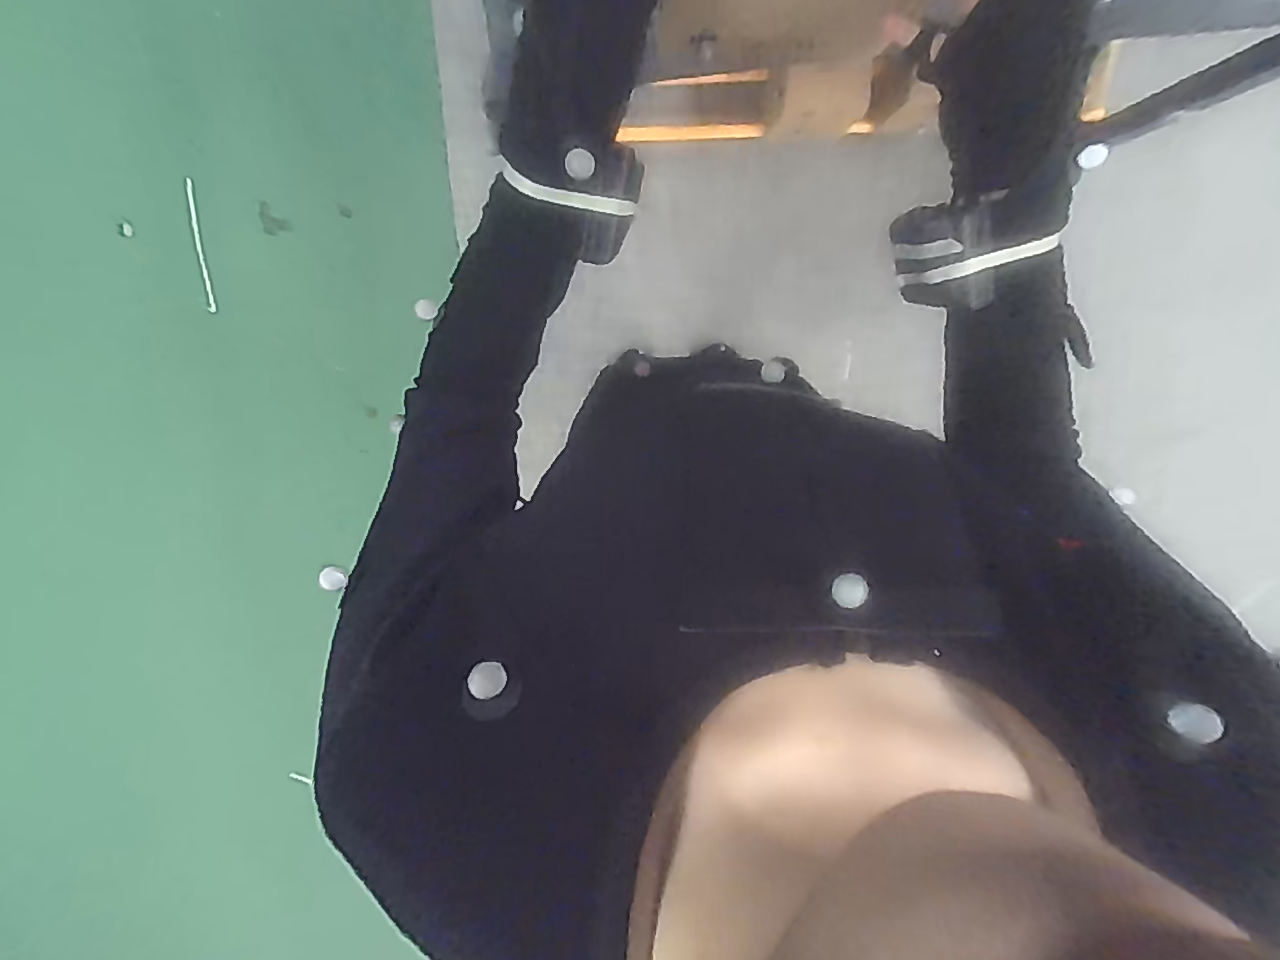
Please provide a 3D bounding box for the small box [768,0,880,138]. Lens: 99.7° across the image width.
[{"bbox_3d":[0.361,-0.818,1.091,0.168,0.176,0.179,0,106,1],"label":"small box"}]
